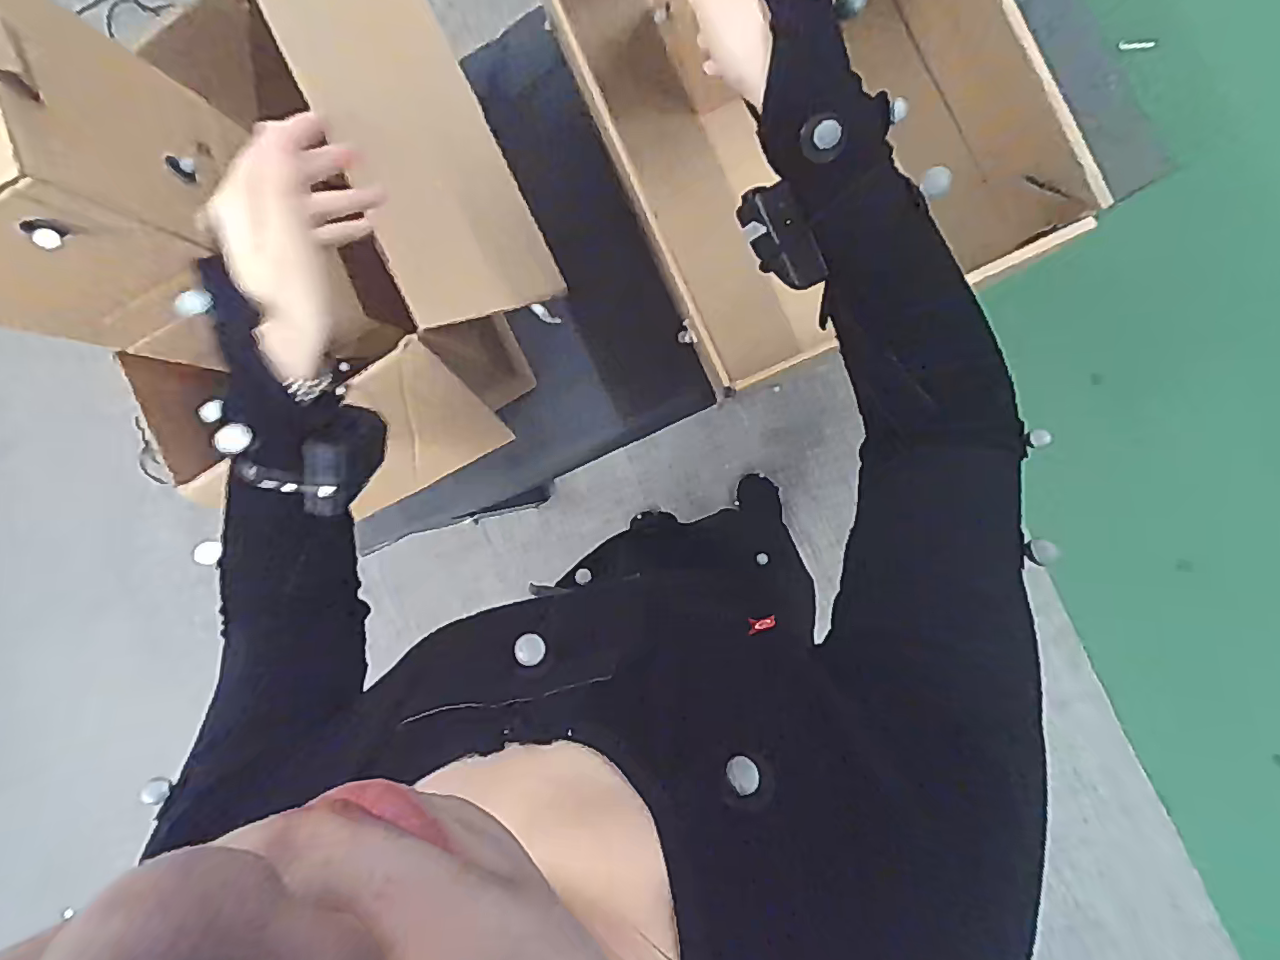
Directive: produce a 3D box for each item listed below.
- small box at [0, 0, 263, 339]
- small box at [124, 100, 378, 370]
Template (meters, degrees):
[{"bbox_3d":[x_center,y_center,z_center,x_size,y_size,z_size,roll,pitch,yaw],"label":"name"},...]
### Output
[{"bbox_3d":[-0.444,-0.227,0.411,0.179,0.176,0.168,-21,89,9],"label":"small box"},{"bbox_3d":[-0.420,-0.235,0.571,0.168,0.176,0.179,-22,90,9],"label":"small box"}]
